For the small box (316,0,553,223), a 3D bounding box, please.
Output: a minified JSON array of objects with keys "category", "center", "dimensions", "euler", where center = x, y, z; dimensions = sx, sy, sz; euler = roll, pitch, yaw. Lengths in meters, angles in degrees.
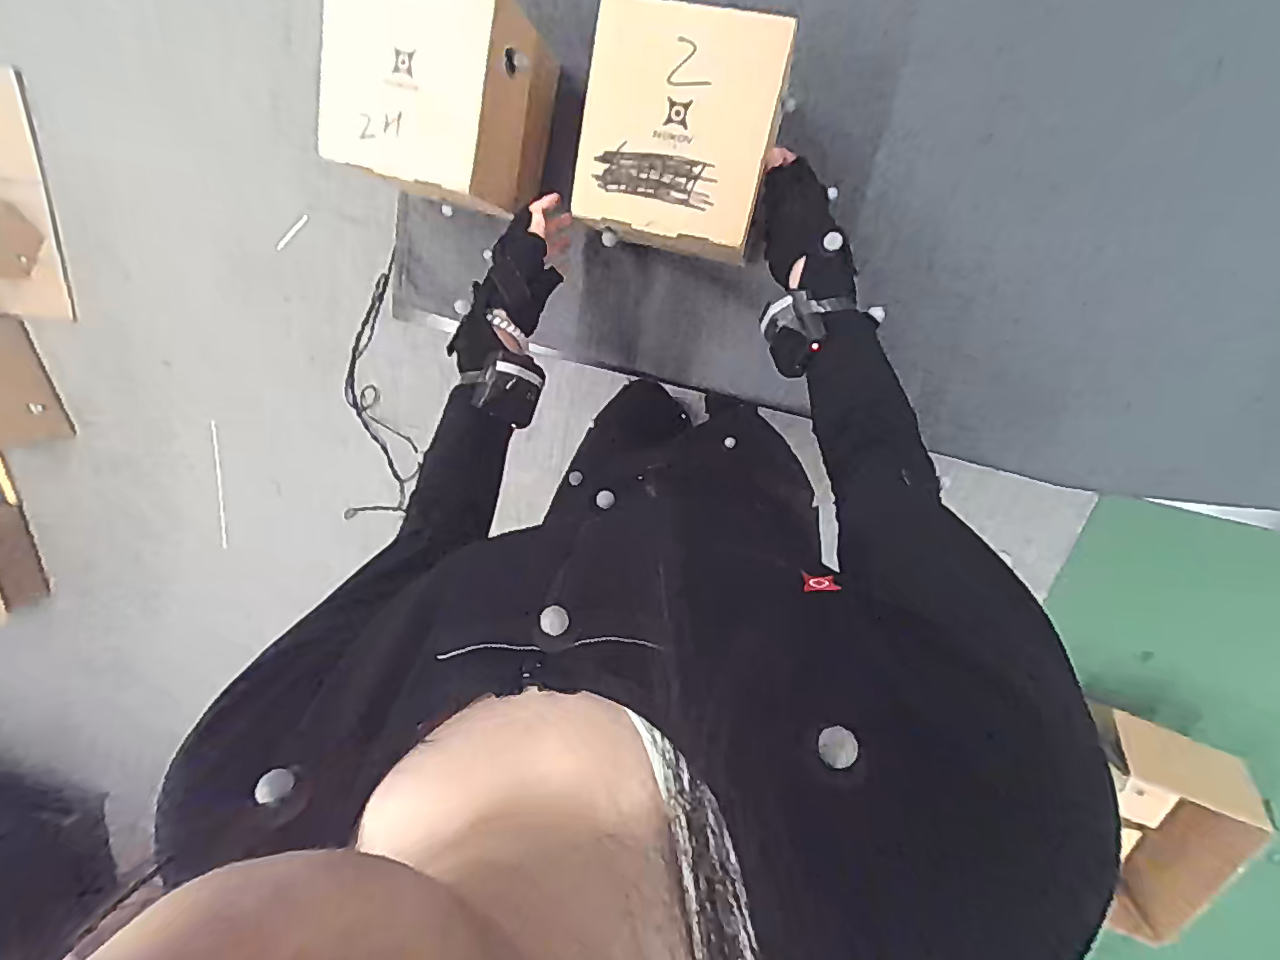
[{"category":"small box","center":[-0.204,-0.396,0.573],"dimensions":[0.168,0.176,0.179],"euler":[17,108,7]}]
